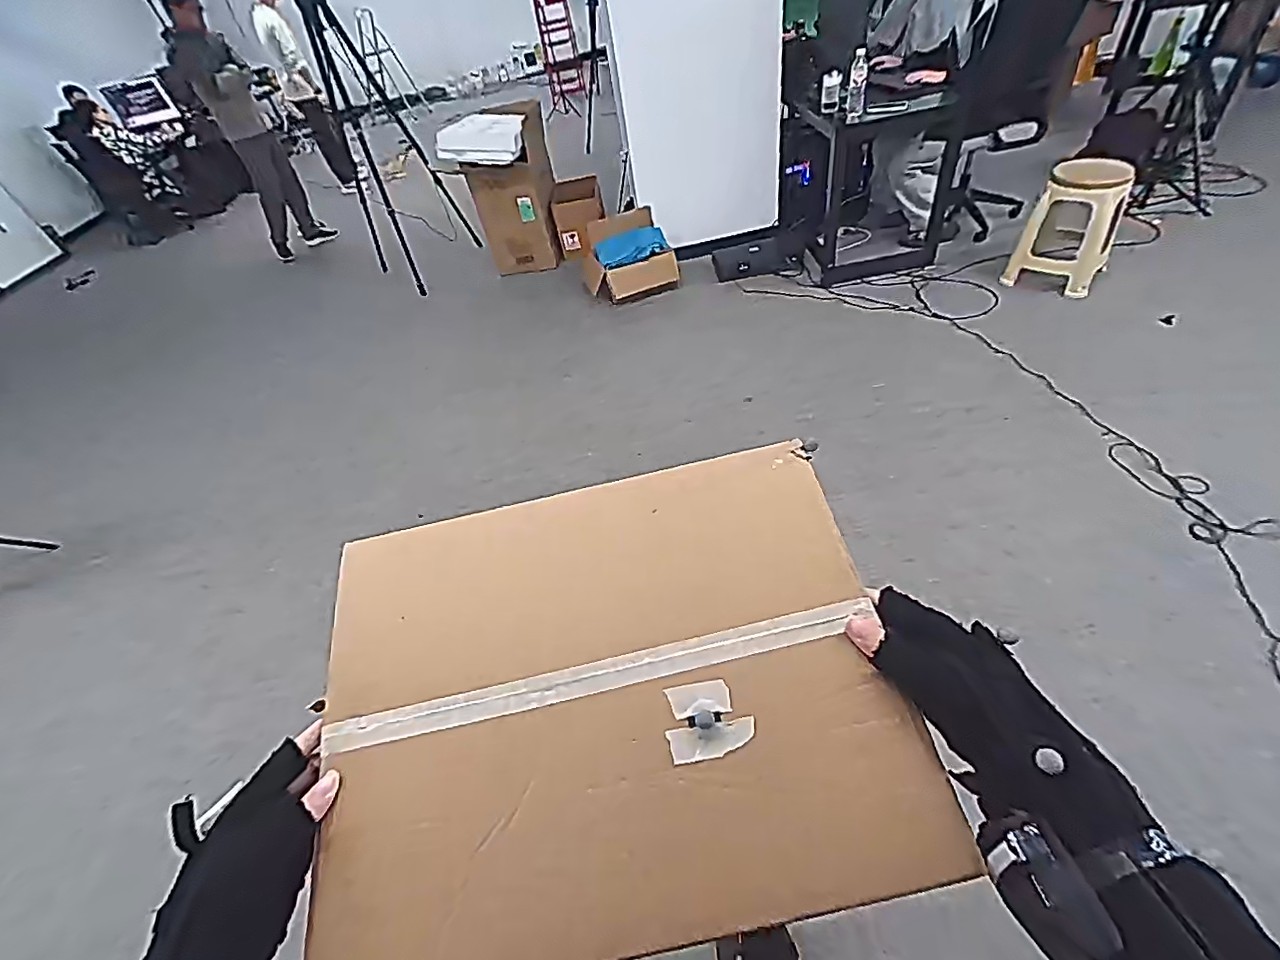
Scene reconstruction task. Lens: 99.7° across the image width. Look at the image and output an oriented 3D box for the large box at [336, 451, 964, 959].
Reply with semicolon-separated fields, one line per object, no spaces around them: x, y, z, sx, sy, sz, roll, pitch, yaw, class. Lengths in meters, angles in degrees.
-0.008;0.222;0.530;0.408;0.320;0.320;-13;59;-1;large box
